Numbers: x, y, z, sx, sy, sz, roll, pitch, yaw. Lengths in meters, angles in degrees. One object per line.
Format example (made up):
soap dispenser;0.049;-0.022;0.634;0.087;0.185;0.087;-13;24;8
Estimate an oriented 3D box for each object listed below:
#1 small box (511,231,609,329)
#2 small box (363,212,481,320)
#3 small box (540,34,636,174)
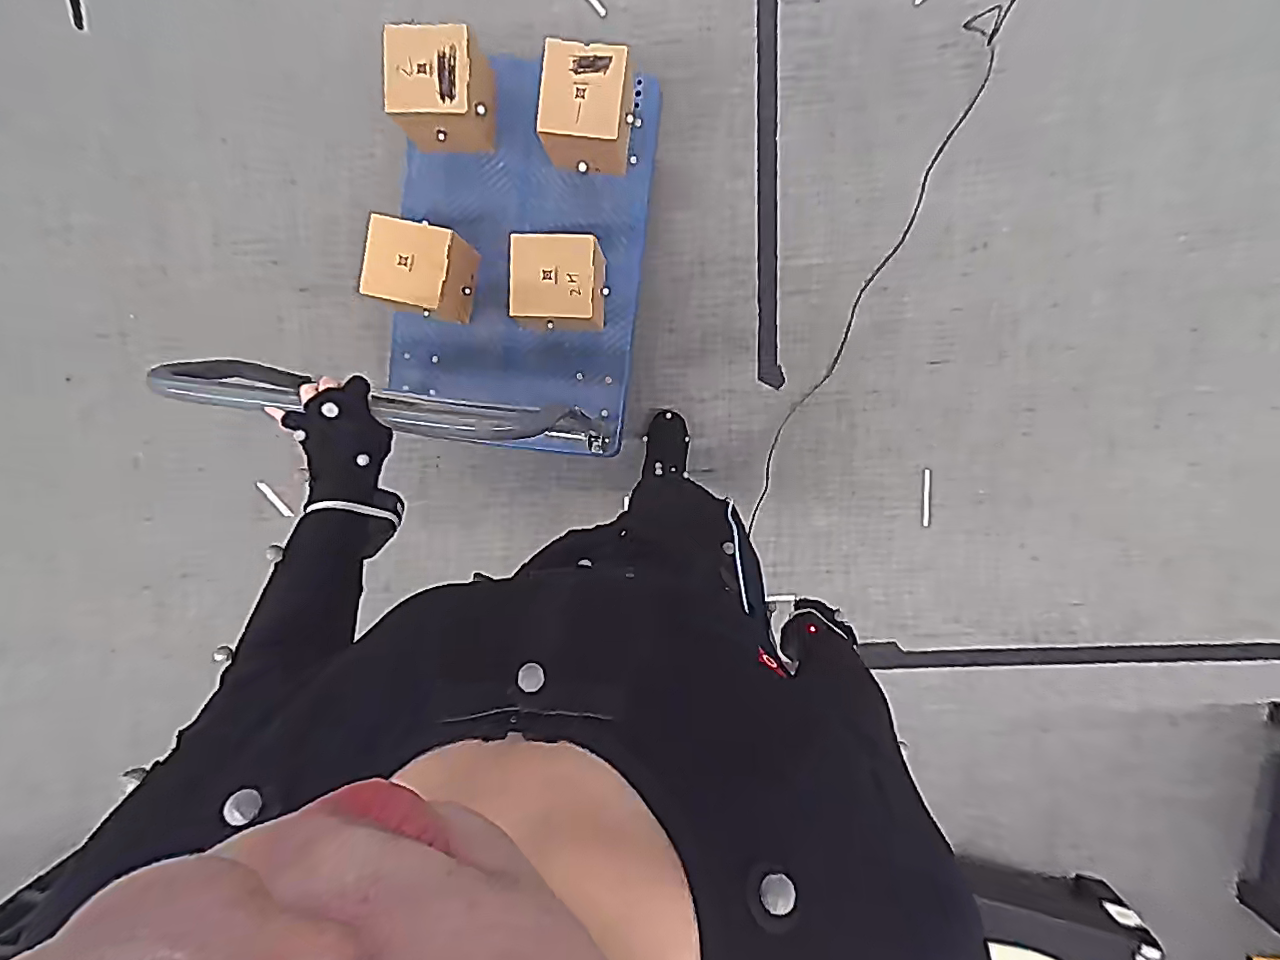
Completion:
small box;-0.168;-0.428;1.178;0.179;0.176;0.168;3;96;4
small box;-0.474;-0.463;1.196;0.179;0.176;0.168;12;95;1
small box;-0.103;-0.782;1.139;0.168;0.176;0.179;8;97;3
